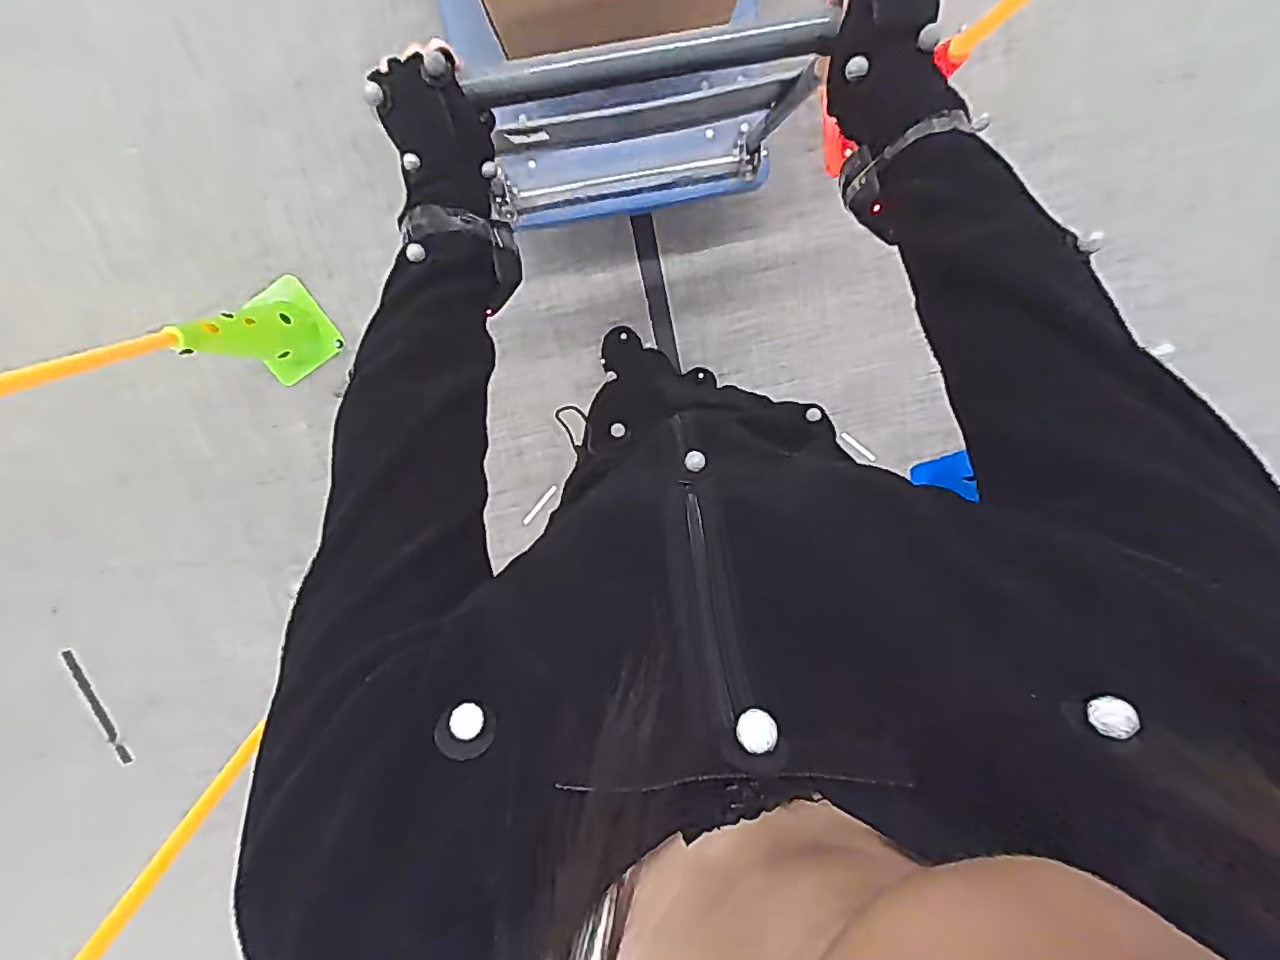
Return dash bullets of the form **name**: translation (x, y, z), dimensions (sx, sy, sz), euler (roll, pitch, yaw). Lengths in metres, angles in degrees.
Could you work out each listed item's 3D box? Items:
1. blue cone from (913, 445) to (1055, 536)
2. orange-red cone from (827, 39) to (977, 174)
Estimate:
- **blue cone**: translation (0.851, 0.059, 1.311), dimensions (0.193, 0.380, 0.192), euler (-17, 105, 3)
- **orange-red cone**: translation (0.526, -0.749, 1.045), dimensions (0.199, 0.360, 0.198), euler (-7, 107, -1)
